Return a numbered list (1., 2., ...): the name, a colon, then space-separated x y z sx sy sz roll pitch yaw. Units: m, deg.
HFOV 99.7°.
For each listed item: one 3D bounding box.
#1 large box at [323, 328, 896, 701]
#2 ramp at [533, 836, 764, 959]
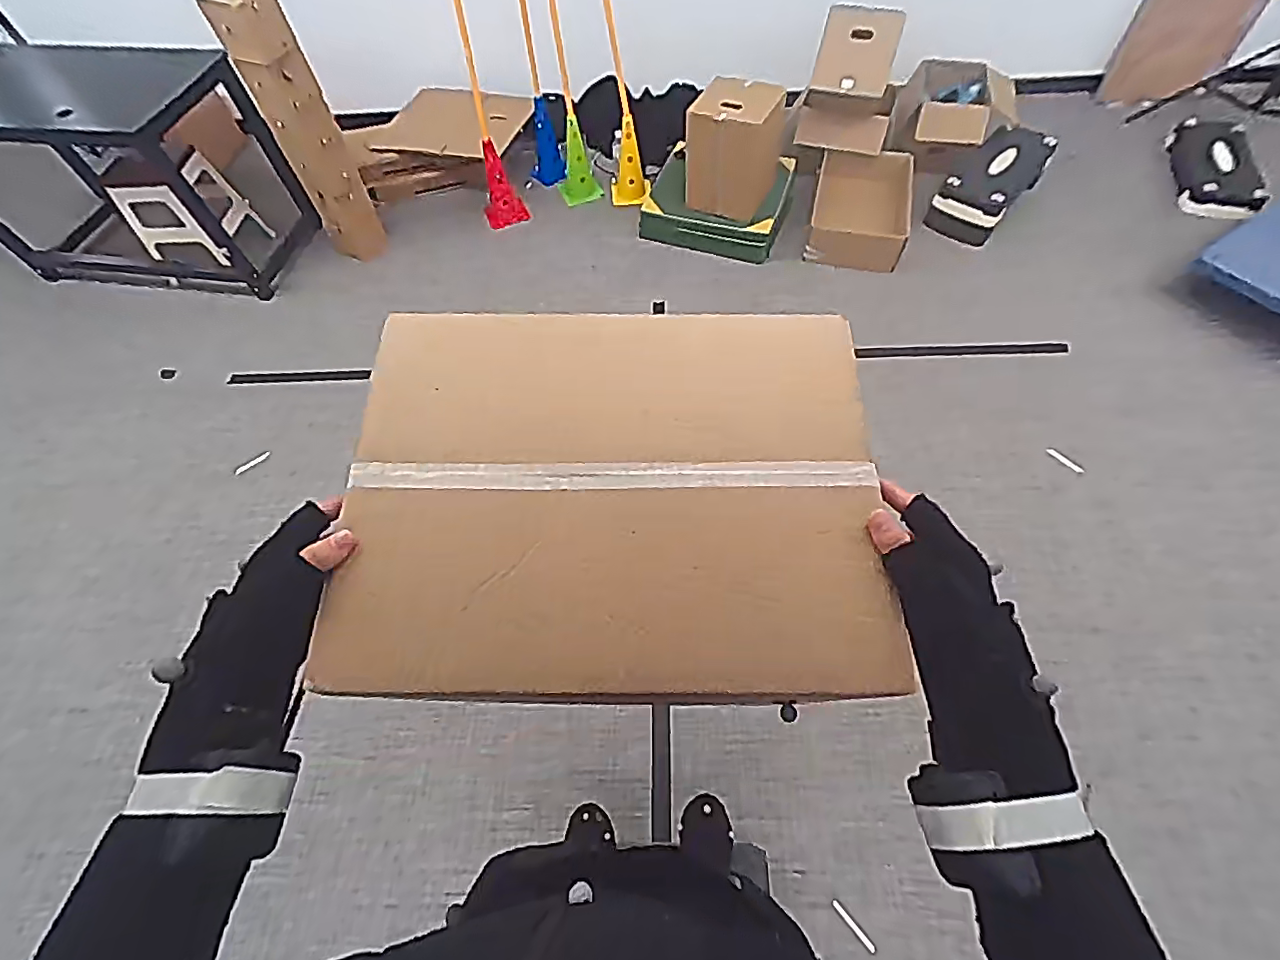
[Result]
1. large box: -0.020 0.062 0.564 0.408 0.320 0.320 1 66 0
2. ramp: 0.019 1.273 1.043 0.509 0.206 0.991 -1 60 0
